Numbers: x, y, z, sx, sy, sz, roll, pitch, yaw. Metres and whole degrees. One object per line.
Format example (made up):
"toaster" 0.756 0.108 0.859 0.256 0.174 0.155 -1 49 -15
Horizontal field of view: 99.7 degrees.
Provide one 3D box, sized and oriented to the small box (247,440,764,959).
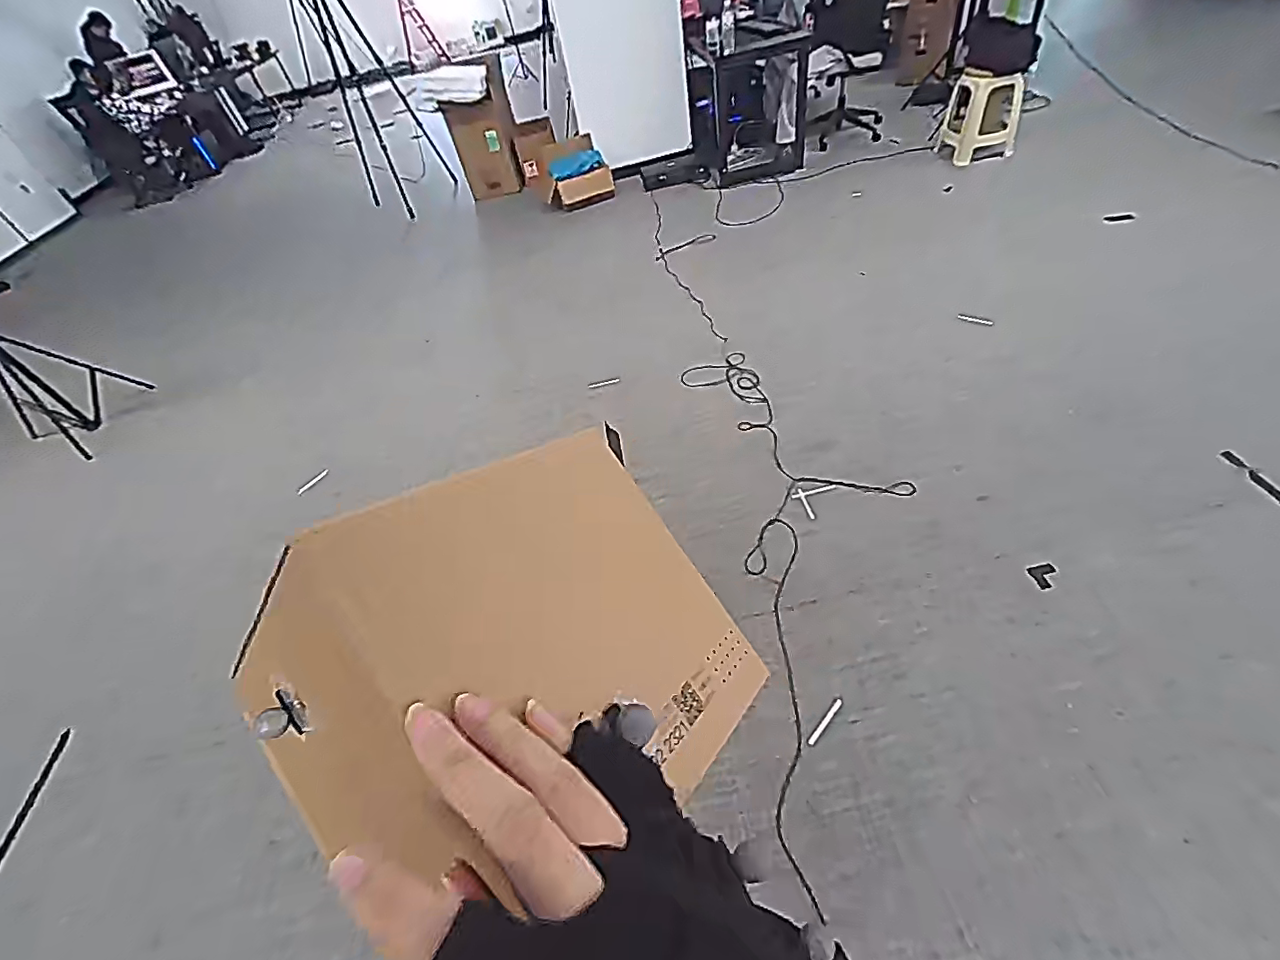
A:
"small box" -0.071 0.111 0.289 0.176 0.179 0.168 54 39 6
